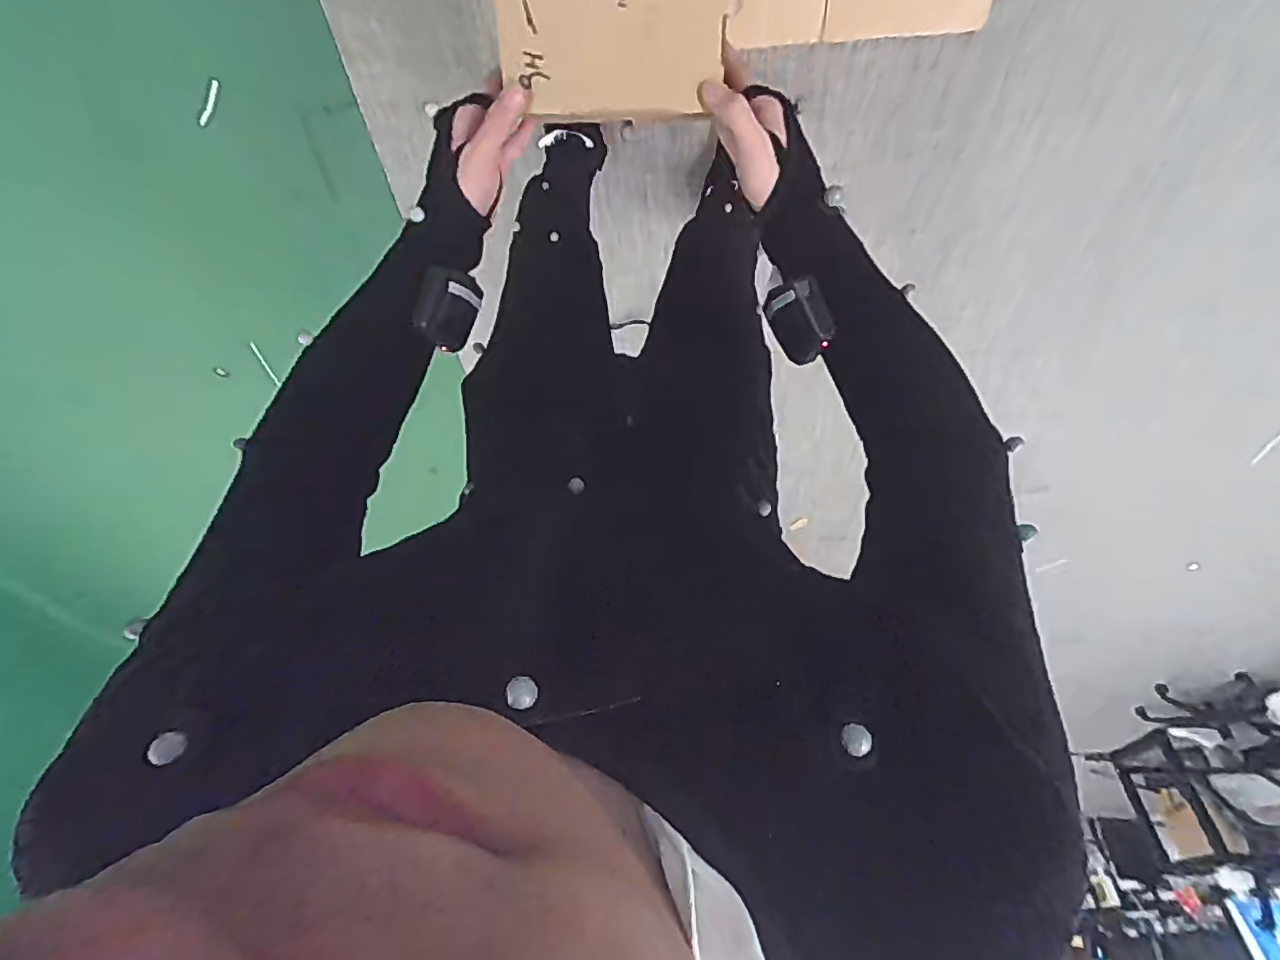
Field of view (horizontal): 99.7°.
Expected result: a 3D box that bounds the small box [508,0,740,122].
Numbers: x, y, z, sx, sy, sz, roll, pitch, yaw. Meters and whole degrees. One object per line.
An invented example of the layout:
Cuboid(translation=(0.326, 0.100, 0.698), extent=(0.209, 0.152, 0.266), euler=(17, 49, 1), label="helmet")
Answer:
Cuboid(translation=(-0.009, -0.411, 0.462), extent=(0.179, 0.176, 0.168), euler=(3, 121, 2), label="small box")
